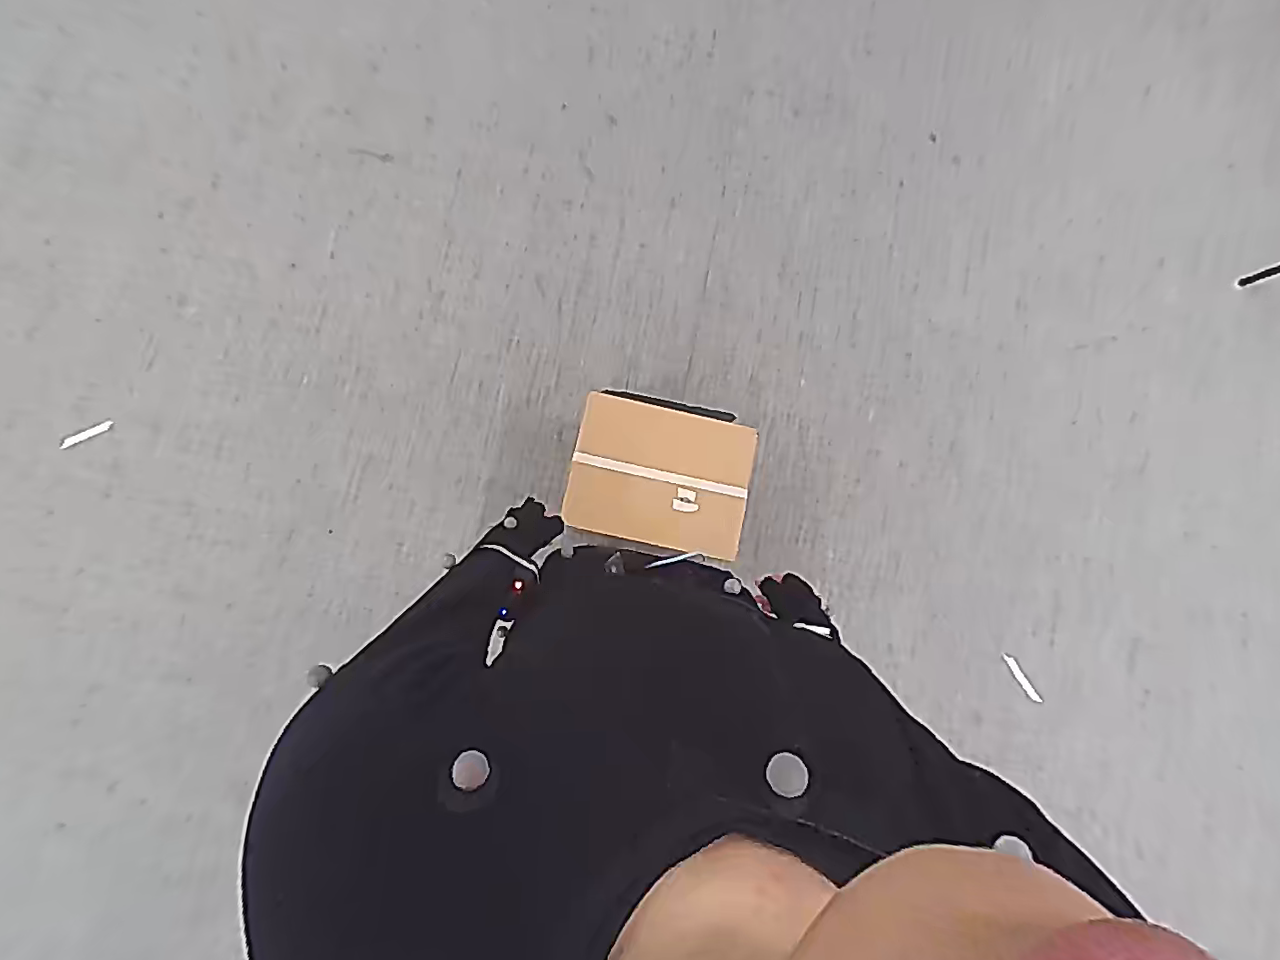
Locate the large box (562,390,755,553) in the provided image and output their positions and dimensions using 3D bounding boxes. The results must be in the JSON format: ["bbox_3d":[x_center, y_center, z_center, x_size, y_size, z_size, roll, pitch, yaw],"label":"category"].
[{"bbox_3d":[0.034,-0.003,1.381,0.408,0.320,0.320,13,82,-3],"label":"large box"}]
